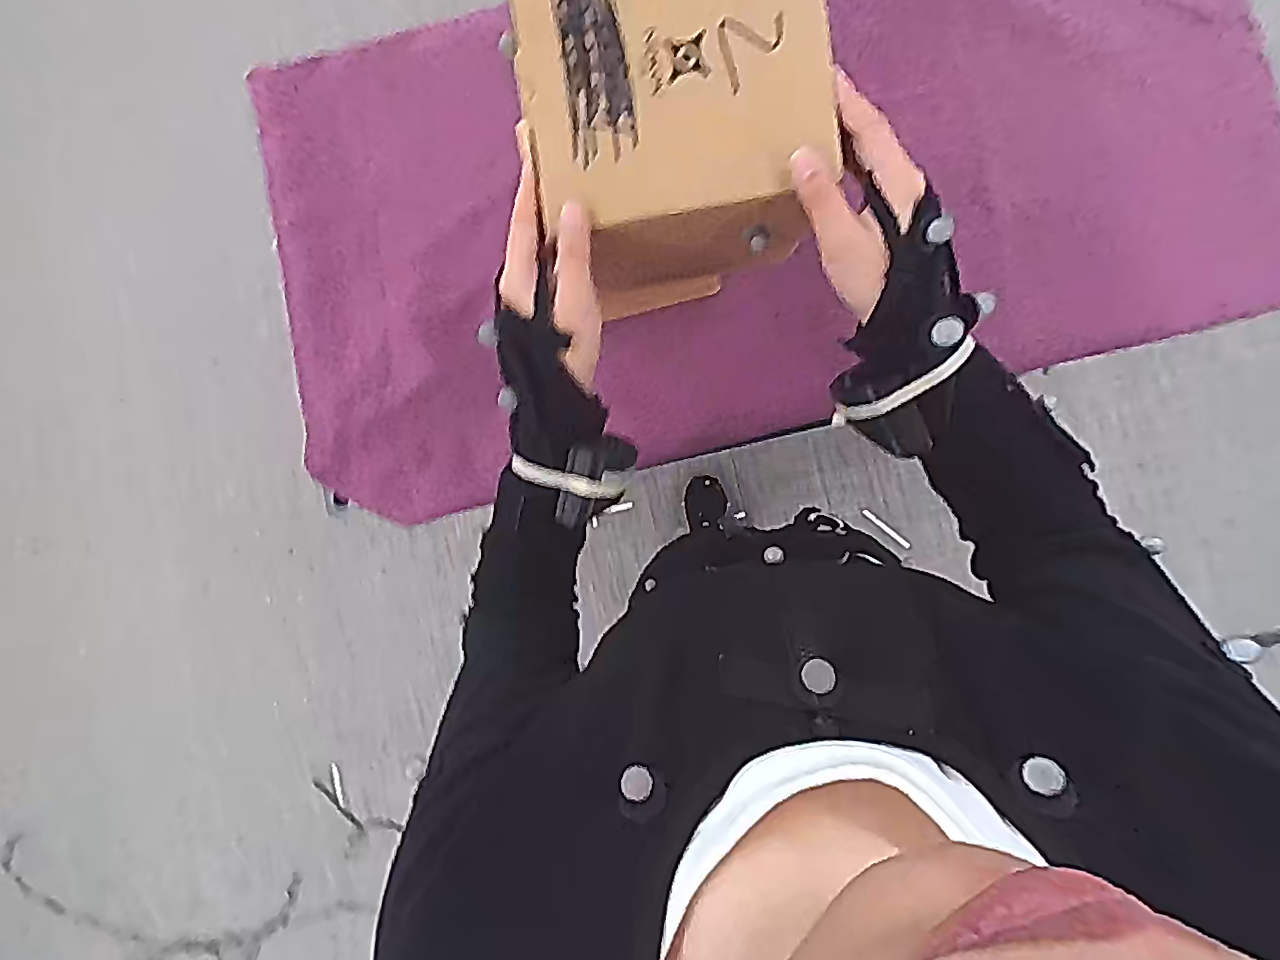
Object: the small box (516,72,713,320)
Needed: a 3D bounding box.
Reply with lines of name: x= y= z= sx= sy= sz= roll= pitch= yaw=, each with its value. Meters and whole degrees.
small box: x=-0.017 y=-0.302 z=0.616 sx=0.179 sy=0.176 sz=0.168 roll=-13 pitch=86 yaw=6
